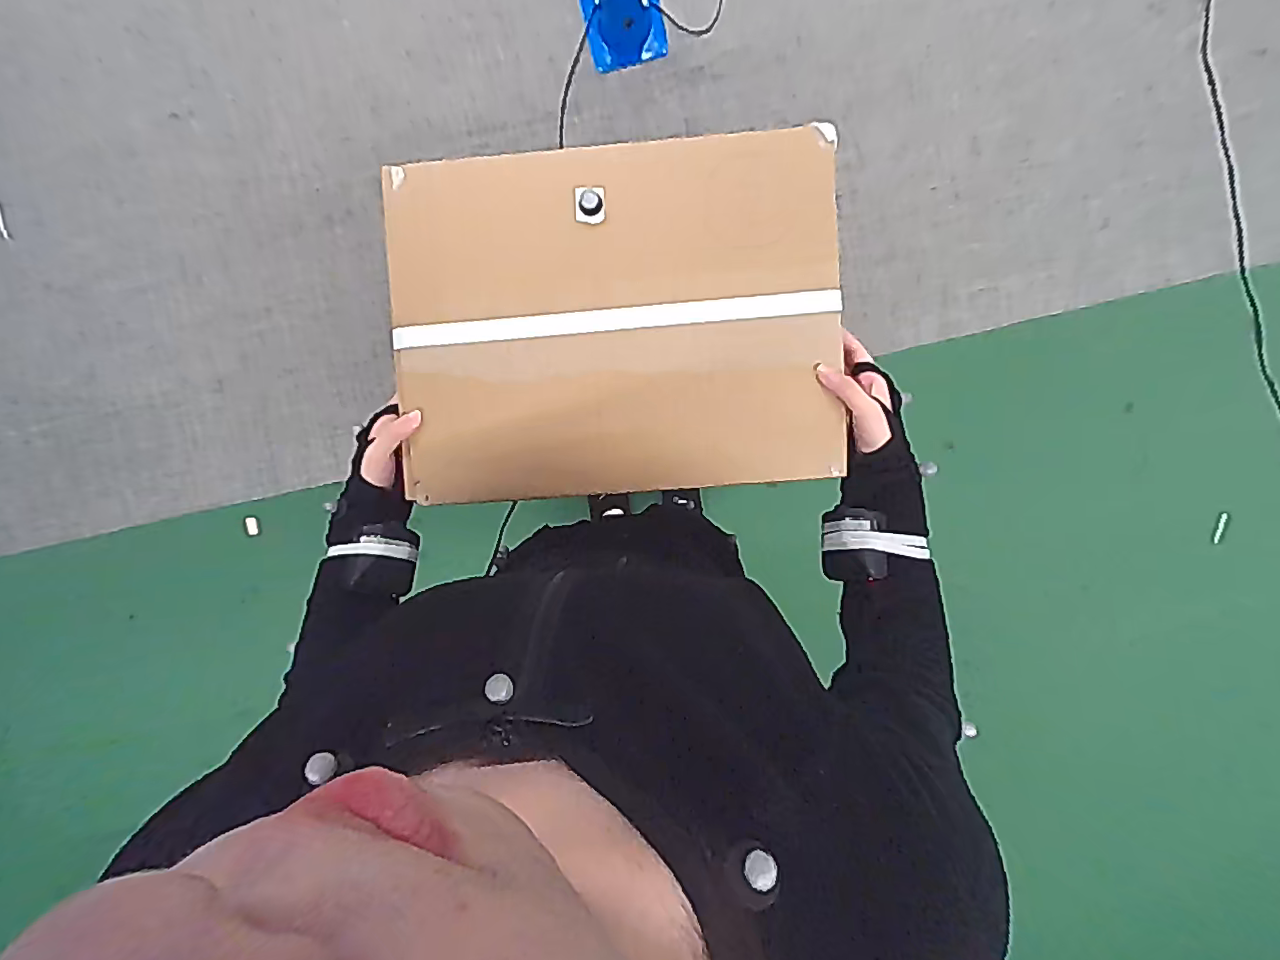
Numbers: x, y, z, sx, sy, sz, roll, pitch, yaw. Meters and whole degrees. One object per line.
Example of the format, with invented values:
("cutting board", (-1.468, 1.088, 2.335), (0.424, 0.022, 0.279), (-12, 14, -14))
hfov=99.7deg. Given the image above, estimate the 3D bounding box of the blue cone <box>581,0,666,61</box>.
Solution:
("blue cone", (-0.044, -1.157, 1.202), (0.193, 0.380, 0.192), (-15, 95, 3))
